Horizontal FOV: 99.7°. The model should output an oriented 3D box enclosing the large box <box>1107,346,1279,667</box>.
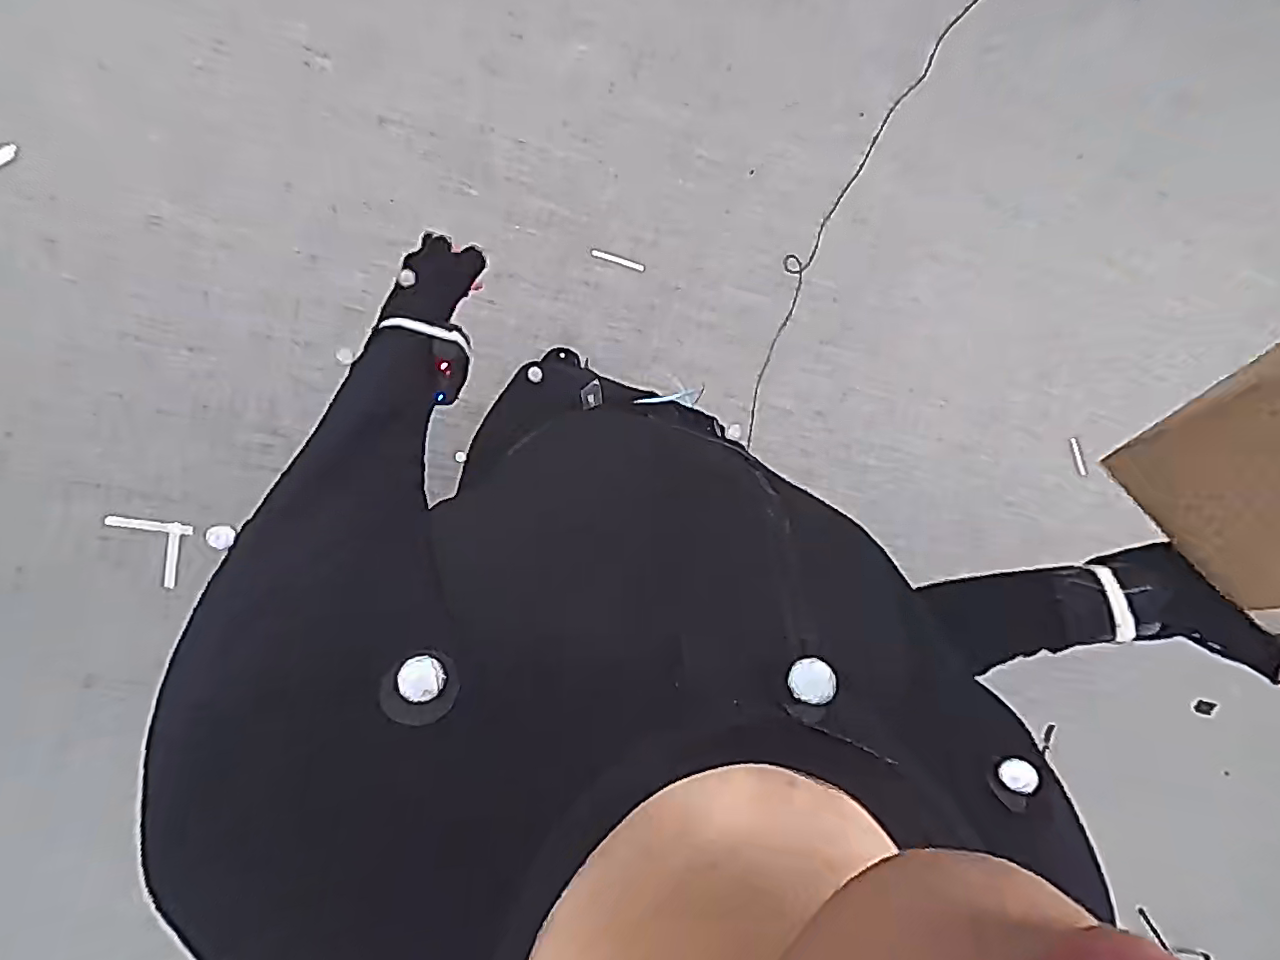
[{"bbox_3d":[0.595,-0.025,0.254,0.320,0.408,0.320,-29,75,-4],"label":"large box"}]
